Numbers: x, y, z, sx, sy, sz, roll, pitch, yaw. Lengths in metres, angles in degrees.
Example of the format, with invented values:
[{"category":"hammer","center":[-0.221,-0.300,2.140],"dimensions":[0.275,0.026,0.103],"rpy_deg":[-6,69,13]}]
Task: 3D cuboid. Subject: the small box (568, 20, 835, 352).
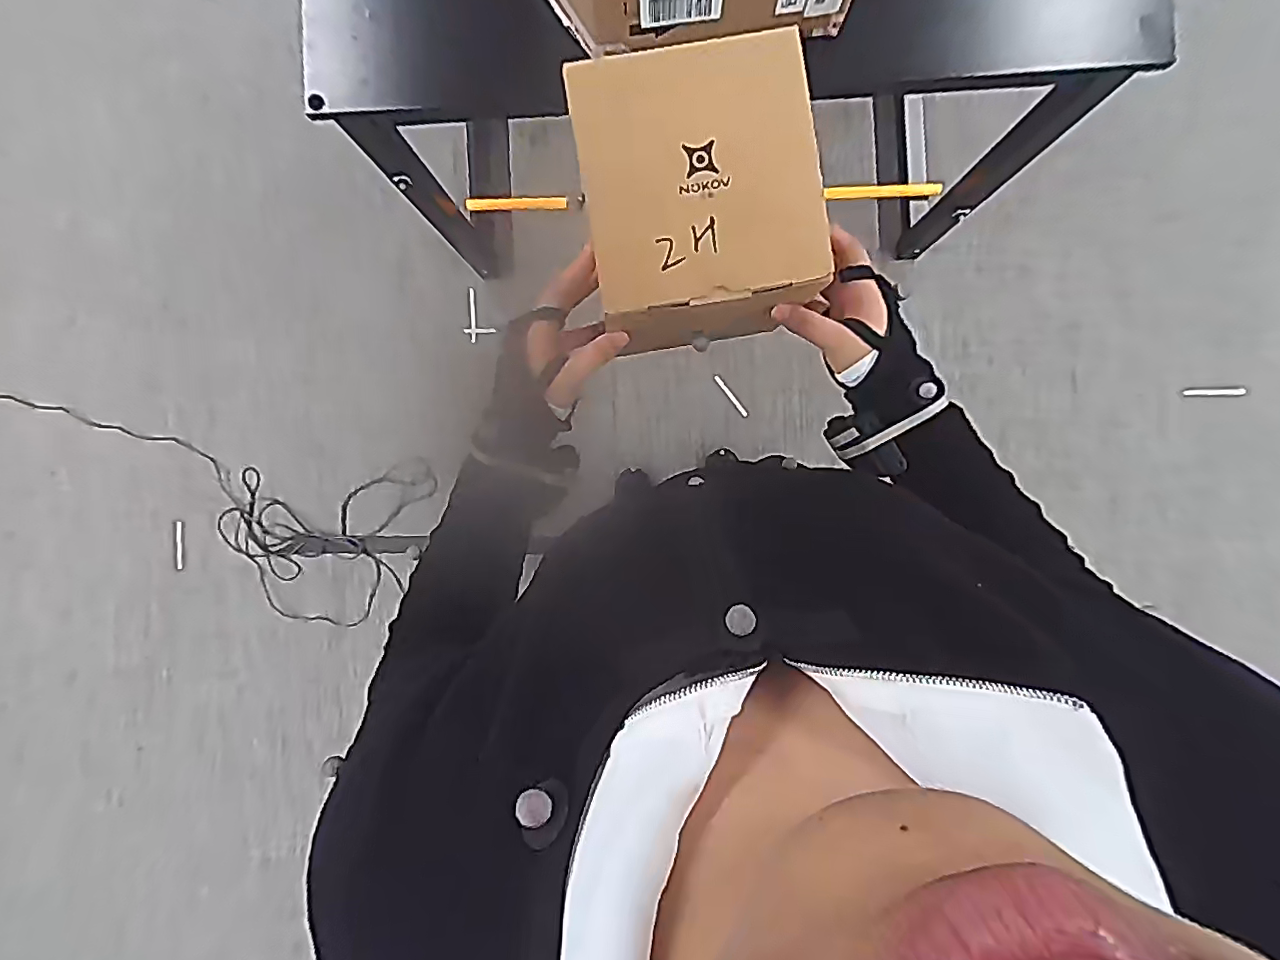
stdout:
[{"category":"small box","center":[0.041,-0.219,0.450],"dimensions":[0.168,0.176,0.179],"rpy_deg":[-9,93,0]}]
